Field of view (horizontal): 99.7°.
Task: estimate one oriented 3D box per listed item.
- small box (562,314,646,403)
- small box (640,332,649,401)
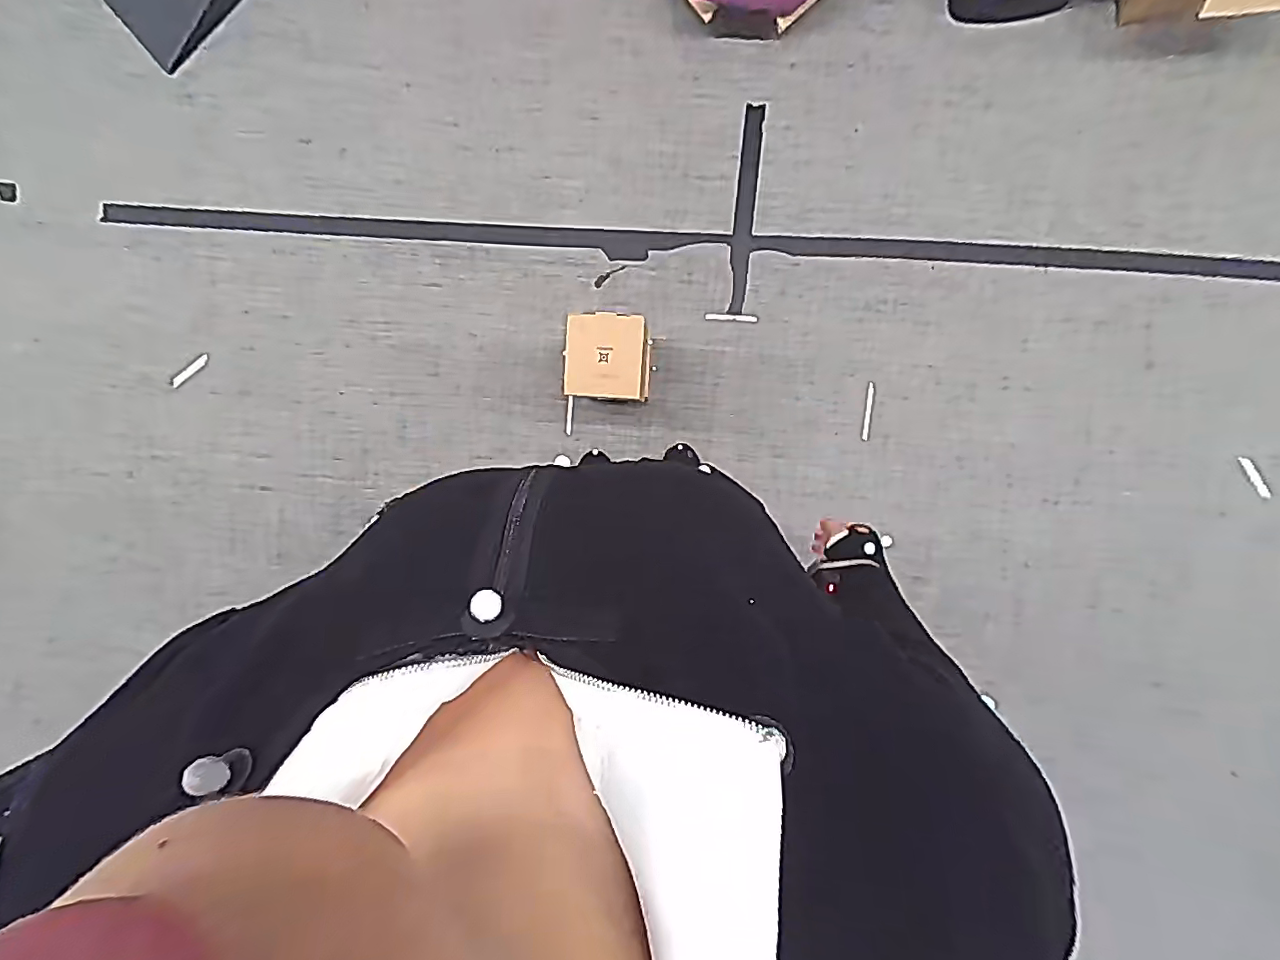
[{"bbox_3d":[-0.077,-0.269,1.228,0.168,0.176,0.179,4,97,4],"label":"small box"},{"bbox_3d":[-0.067,-0.290,1.389,0.179,0.176,0.168,3,96,3],"label":"small box"}]
